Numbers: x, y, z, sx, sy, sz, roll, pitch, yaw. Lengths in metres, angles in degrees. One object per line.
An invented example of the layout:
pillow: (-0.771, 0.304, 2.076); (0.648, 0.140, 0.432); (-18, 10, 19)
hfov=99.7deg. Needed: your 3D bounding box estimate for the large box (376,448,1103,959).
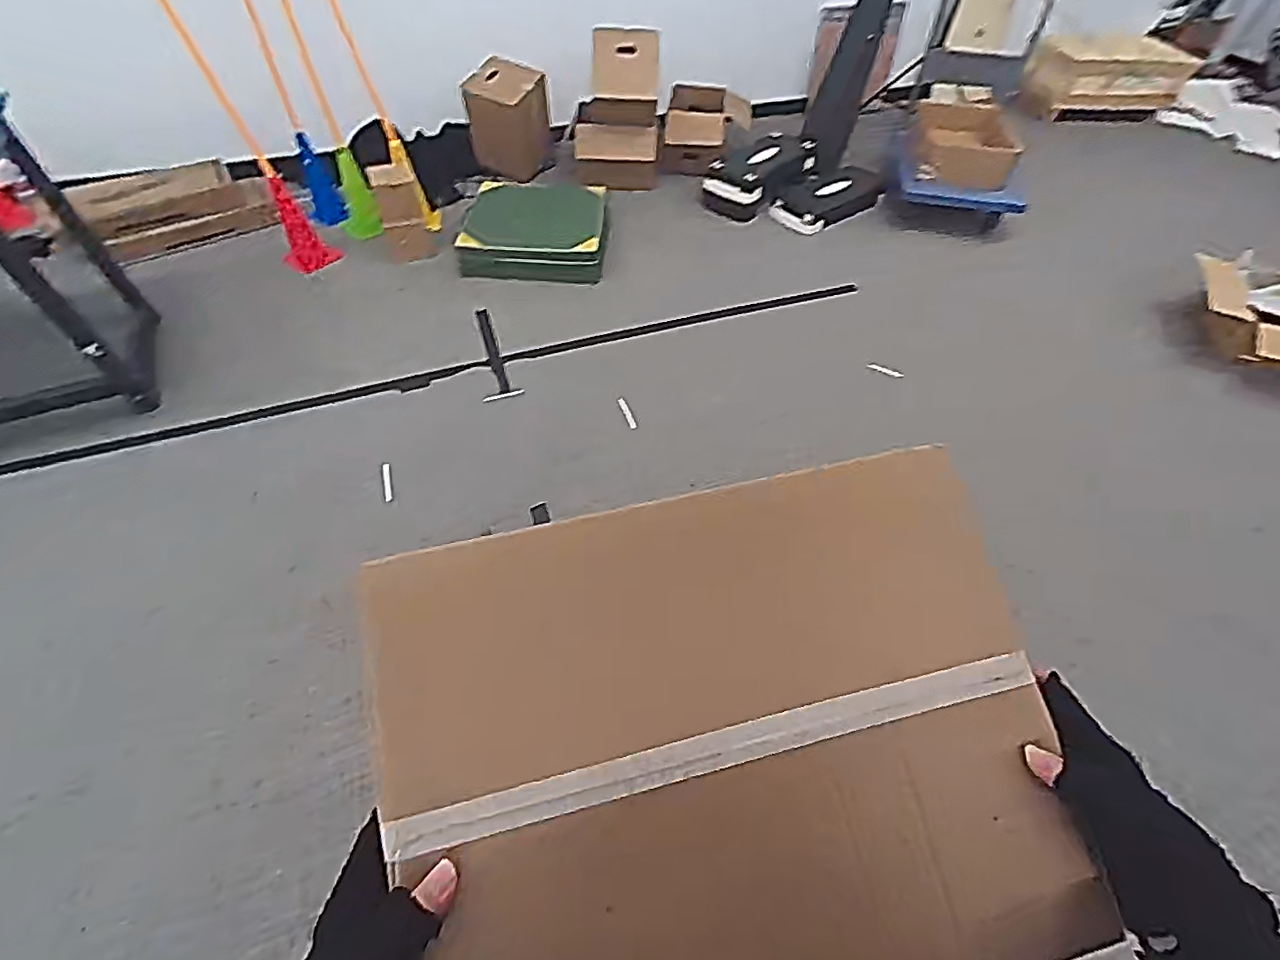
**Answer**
large box: (0.045, 0.201, 0.482); (0.408, 0.320, 0.320); (-12, 78, -7)
